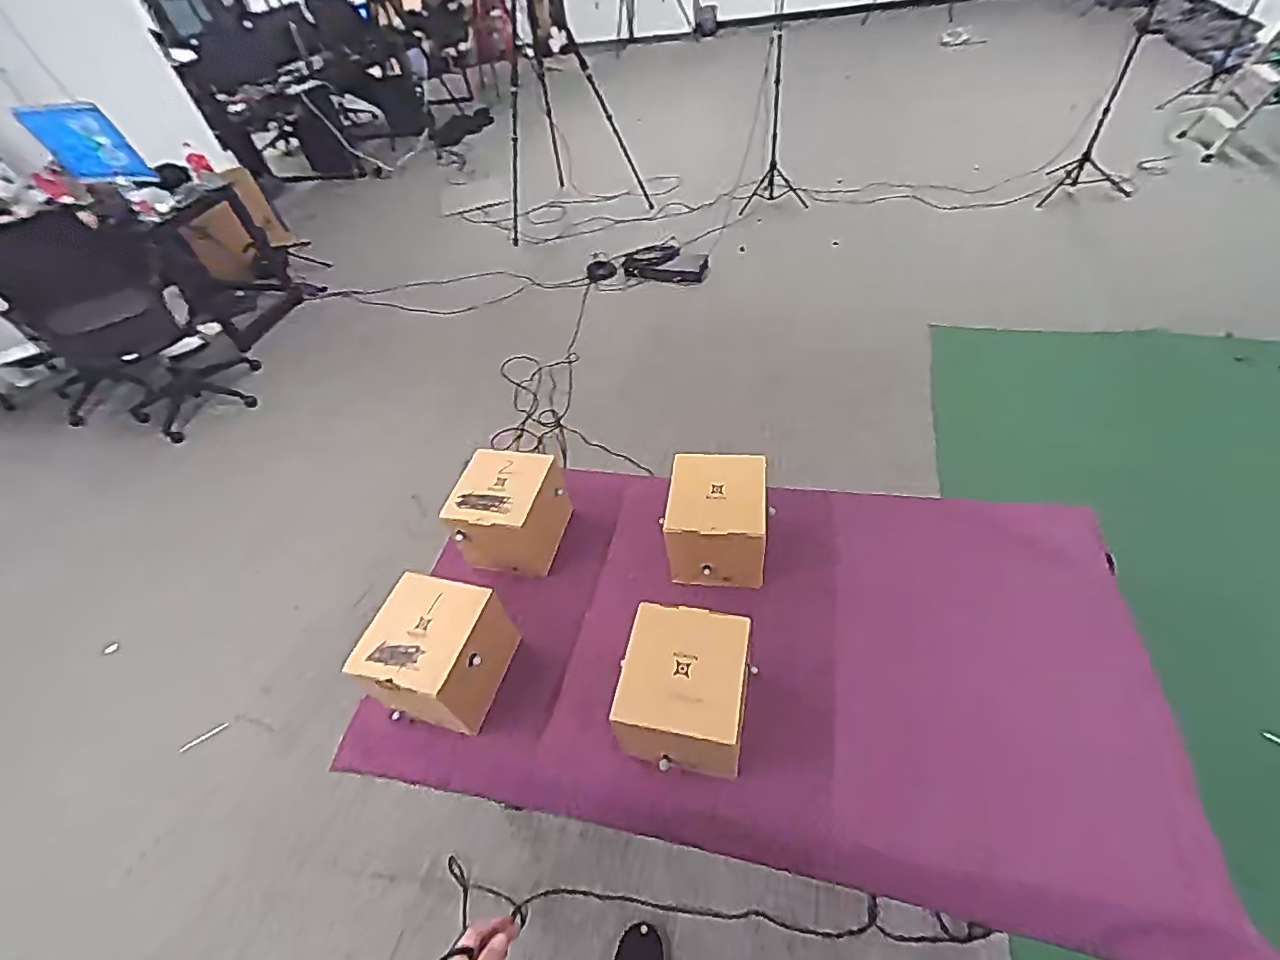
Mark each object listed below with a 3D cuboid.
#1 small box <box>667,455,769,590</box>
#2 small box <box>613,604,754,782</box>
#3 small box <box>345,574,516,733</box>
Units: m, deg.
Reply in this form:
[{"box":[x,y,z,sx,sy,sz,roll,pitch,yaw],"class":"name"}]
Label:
[{"box":[0.144,0.077,0.983,0.168,0.176,0.179,2,50,10],"class":"small box"},{"box":[0.071,0.309,0.788,0.168,0.176,0.179,6,49,15],"class":"small box"},{"box":[-0.320,0.281,0.871,0.168,0.176,0.179,8,49,15],"class":"small box"}]
